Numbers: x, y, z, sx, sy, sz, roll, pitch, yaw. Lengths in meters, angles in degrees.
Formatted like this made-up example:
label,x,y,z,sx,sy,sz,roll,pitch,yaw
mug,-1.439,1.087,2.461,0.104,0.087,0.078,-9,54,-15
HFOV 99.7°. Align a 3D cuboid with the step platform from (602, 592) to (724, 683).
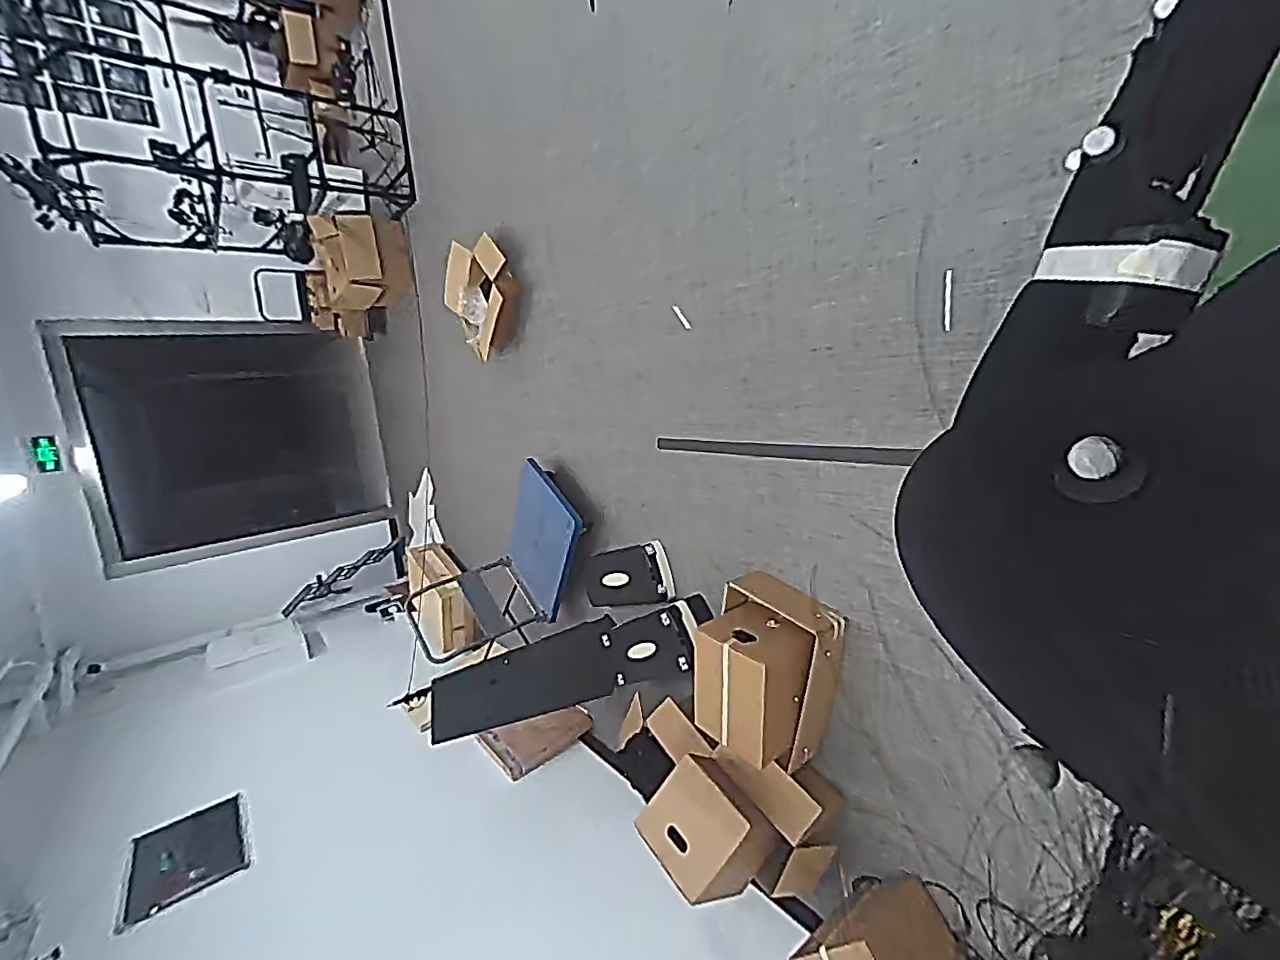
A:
label,x,y,z,sx,sy,sz,roll,pitch,yaw
step platform,0.079,0.752,2.530,0.684,0.204,0.286,-38,70,49
